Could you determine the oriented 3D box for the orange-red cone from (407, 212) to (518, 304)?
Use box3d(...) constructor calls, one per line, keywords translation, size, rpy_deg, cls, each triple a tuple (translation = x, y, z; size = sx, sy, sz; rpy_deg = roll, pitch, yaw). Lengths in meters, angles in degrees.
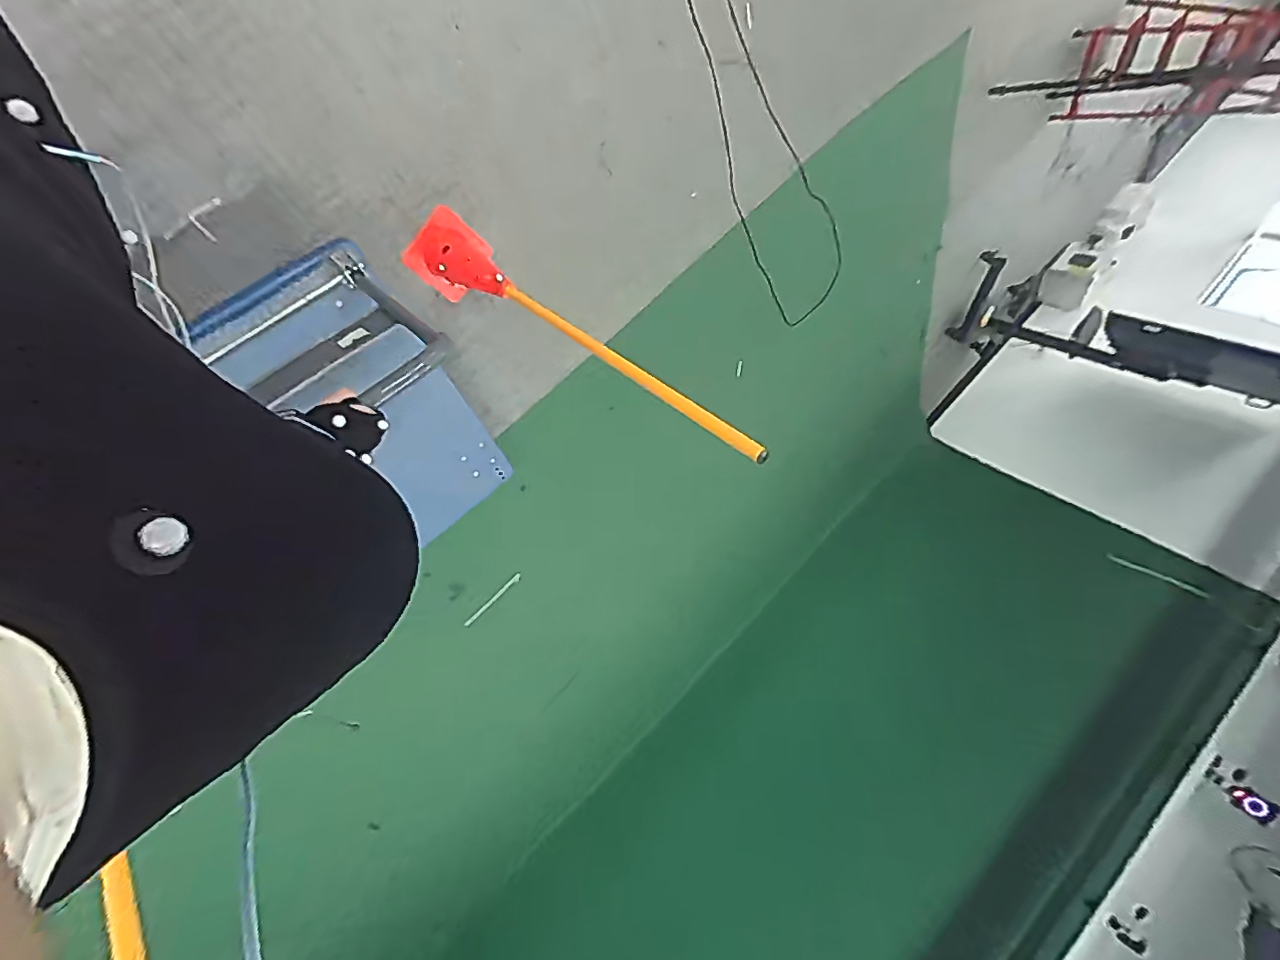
box3d(translation=(-0.430, -0.547, 1.441), size=(0.199, 0.360, 0.198), rpy_deg=(-54, 143, 1), cls="orange-red cone")
